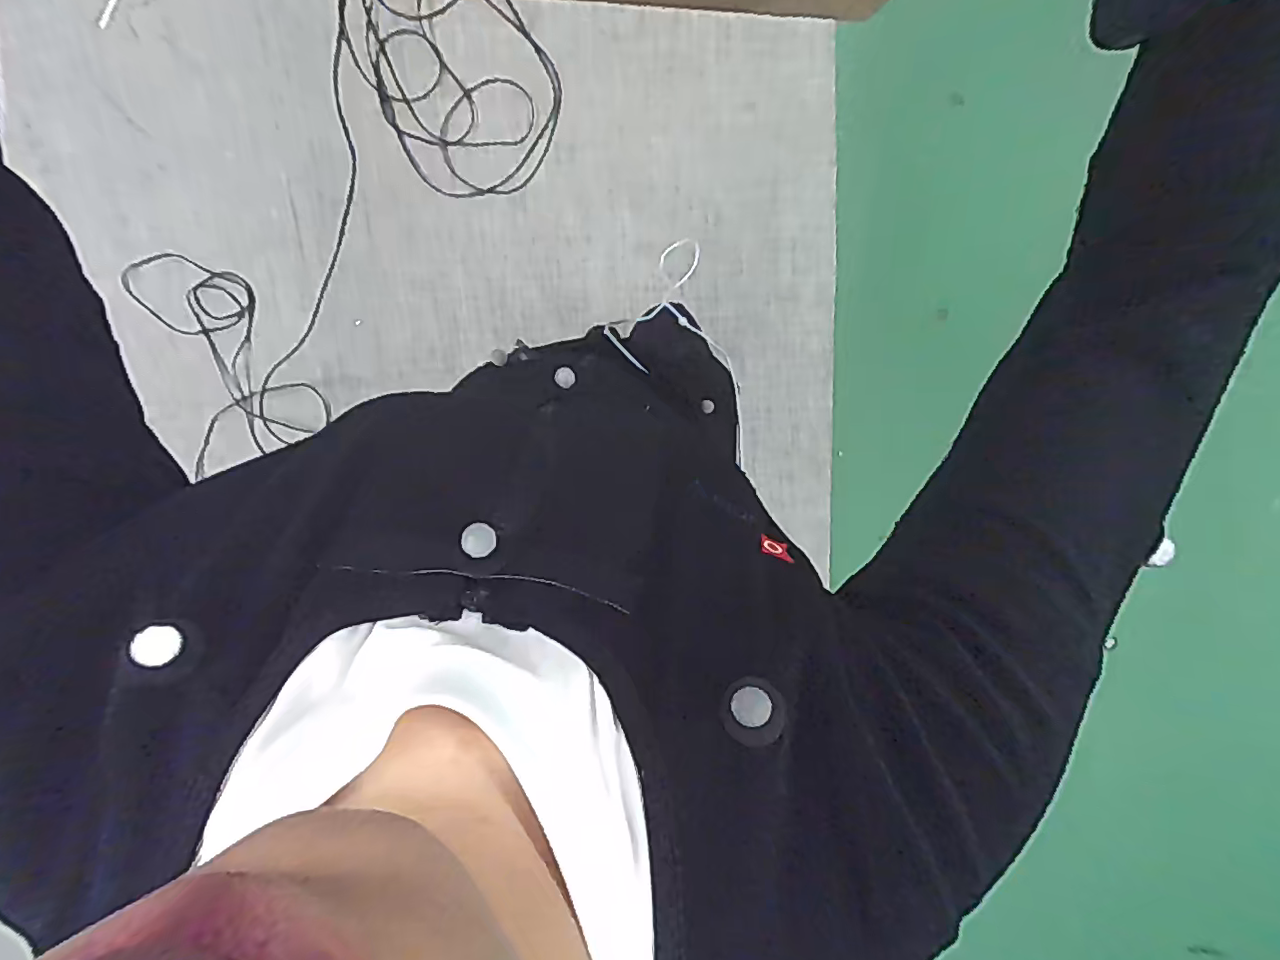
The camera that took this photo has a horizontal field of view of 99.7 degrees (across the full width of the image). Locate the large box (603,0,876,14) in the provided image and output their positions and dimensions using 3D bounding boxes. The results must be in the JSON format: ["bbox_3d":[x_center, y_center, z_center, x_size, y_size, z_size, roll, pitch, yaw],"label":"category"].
[{"bbox_3d":[0.006,-0.490,0.265,0.408,0.320,0.320,3,112,-2],"label":"large box"}]
